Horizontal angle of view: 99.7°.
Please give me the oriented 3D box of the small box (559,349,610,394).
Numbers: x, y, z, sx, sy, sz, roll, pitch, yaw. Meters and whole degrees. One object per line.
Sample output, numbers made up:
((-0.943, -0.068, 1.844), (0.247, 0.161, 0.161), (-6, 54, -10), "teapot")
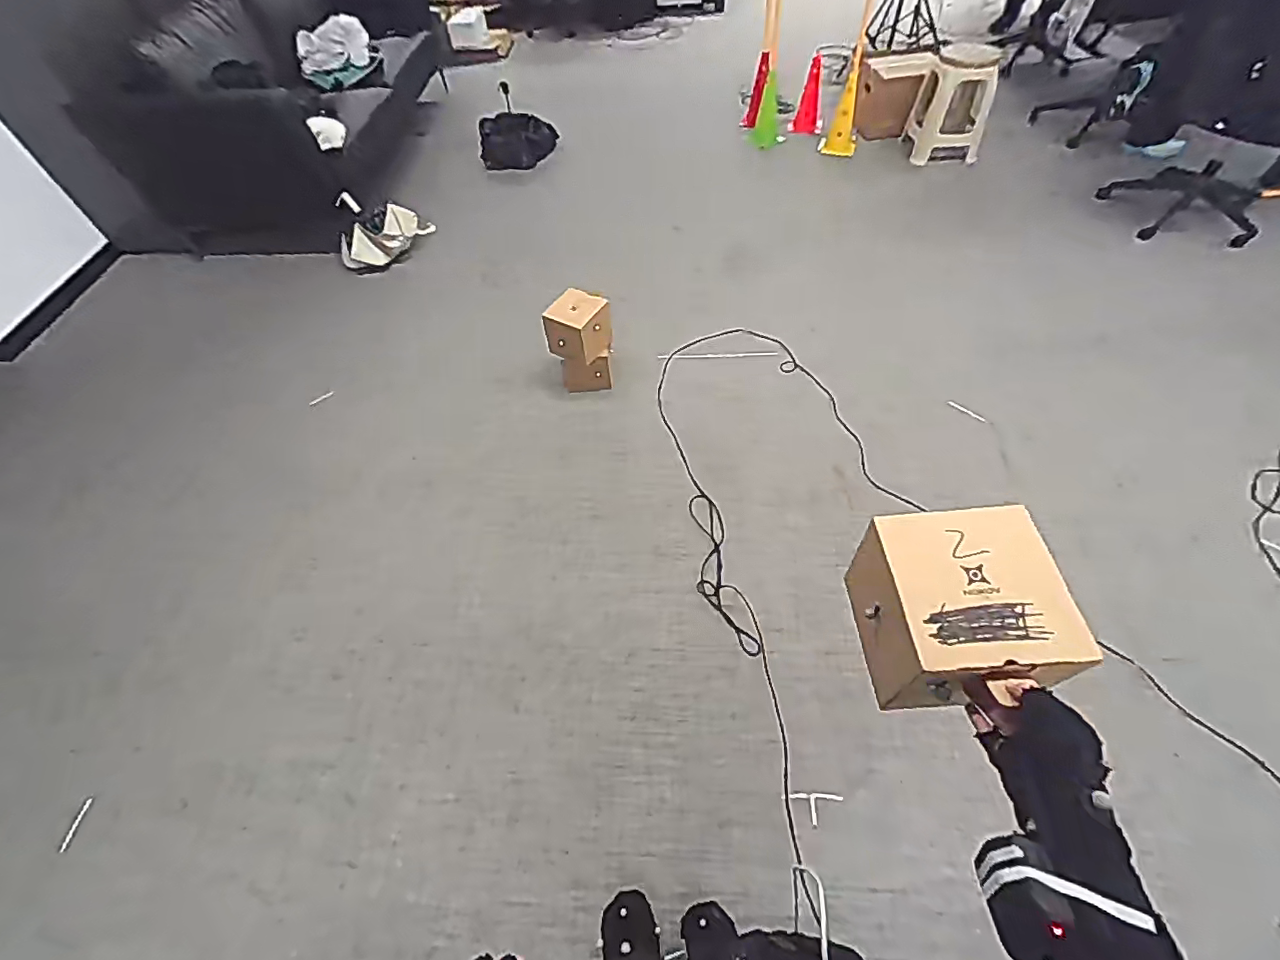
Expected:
((-0.205, -0.442, 2.045), (0.179, 0.176, 0.168), (-5, 53, 1), "small box")

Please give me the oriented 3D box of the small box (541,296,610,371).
((-0.220, -0.517, 1.917), (0.168, 0.176, 0.179), (25, 58, 20), "small box")
